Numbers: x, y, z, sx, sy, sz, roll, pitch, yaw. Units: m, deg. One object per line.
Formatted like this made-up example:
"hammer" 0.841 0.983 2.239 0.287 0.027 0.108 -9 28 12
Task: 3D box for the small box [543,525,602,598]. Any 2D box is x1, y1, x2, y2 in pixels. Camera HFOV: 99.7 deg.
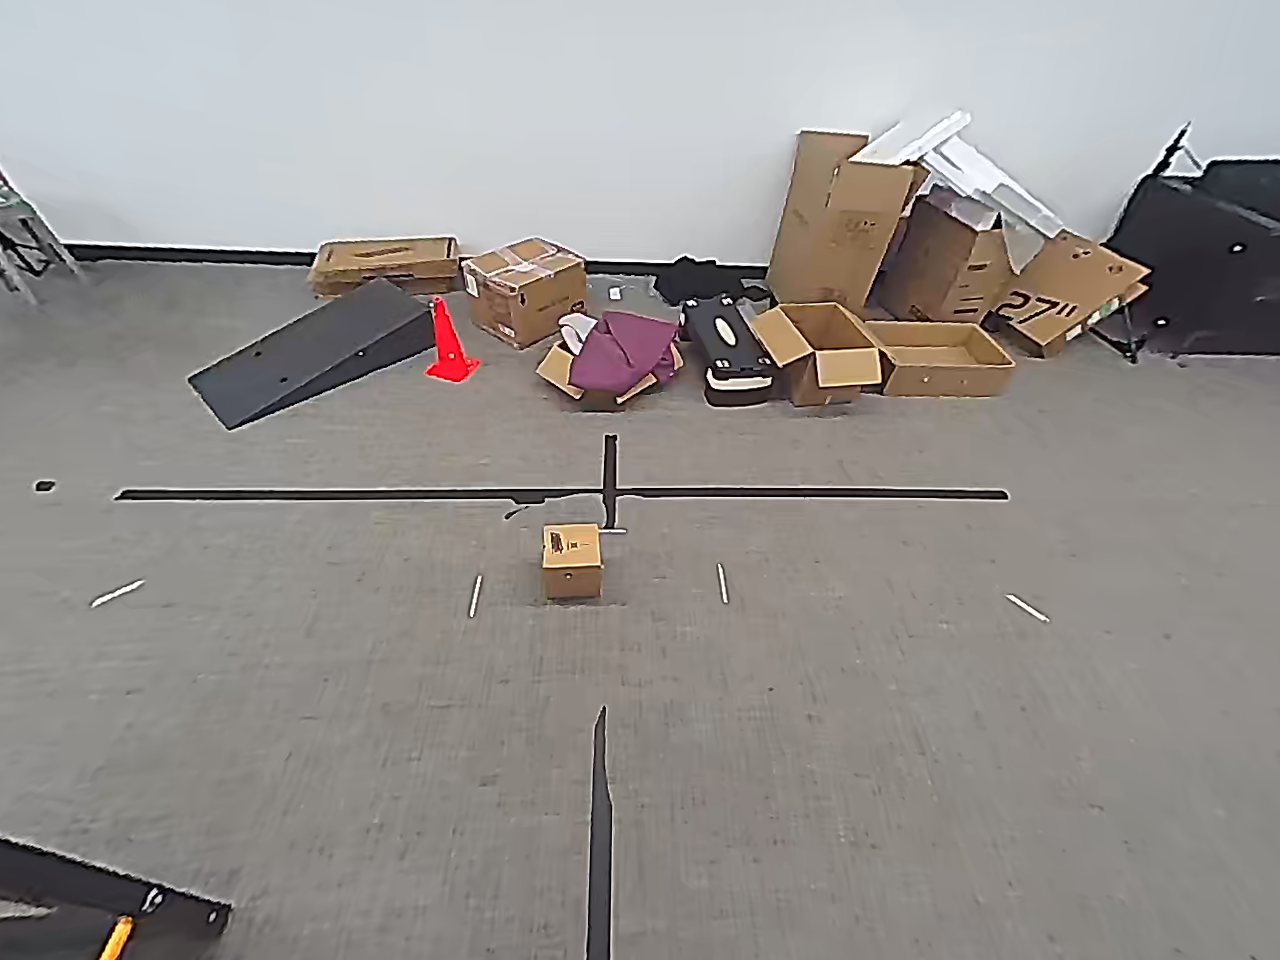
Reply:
"small box" -0.213 0.263 1.723 0.179 0.176 0.168 -2 45 -7
